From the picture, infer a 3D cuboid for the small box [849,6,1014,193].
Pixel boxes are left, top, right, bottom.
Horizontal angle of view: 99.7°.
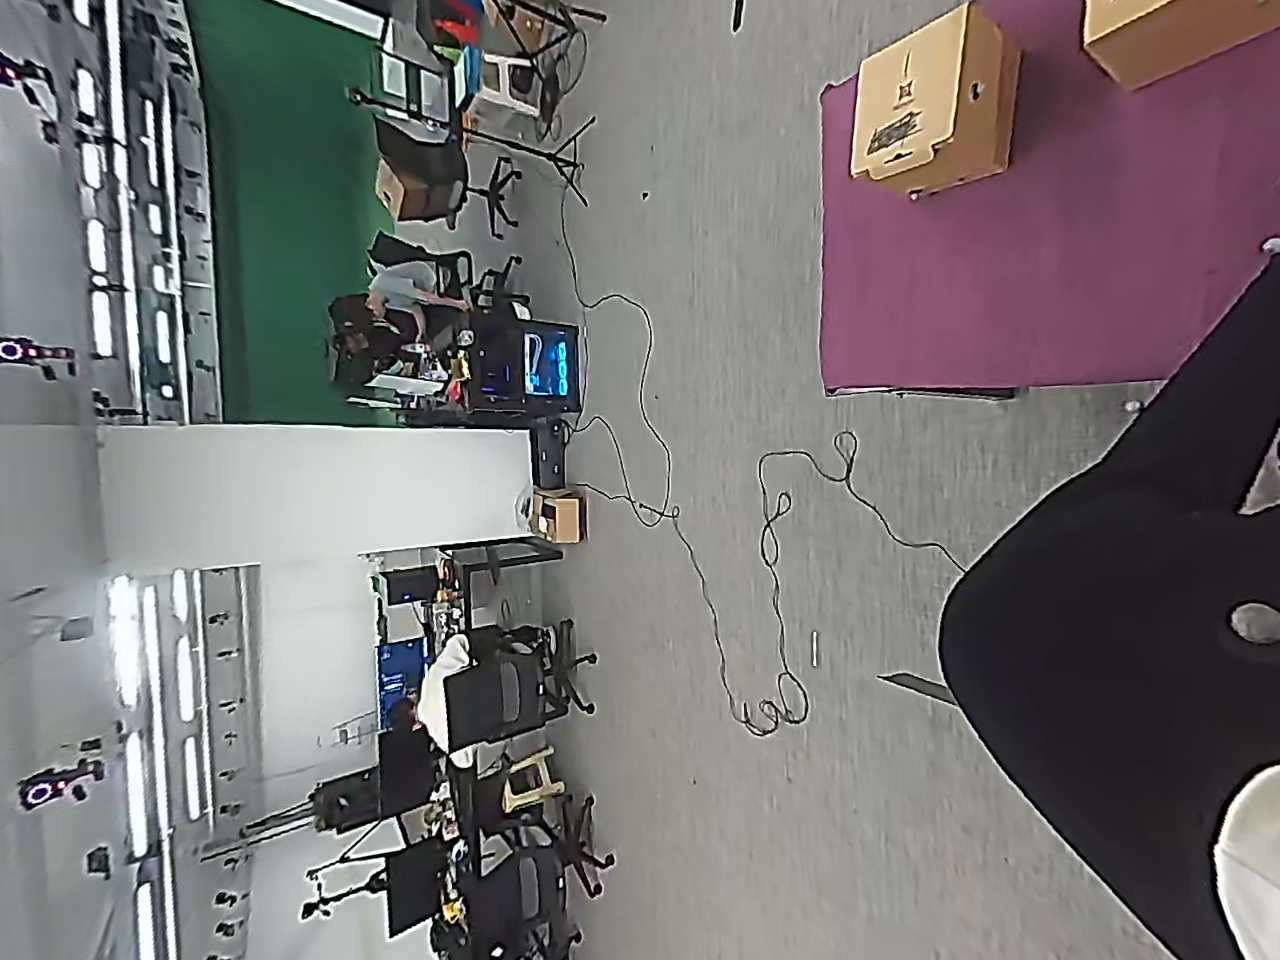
[{"bbox_3d":[0.457,-0.572,0.850,0.168,0.176,0.179,13,104,55],"label":"small box"}]
